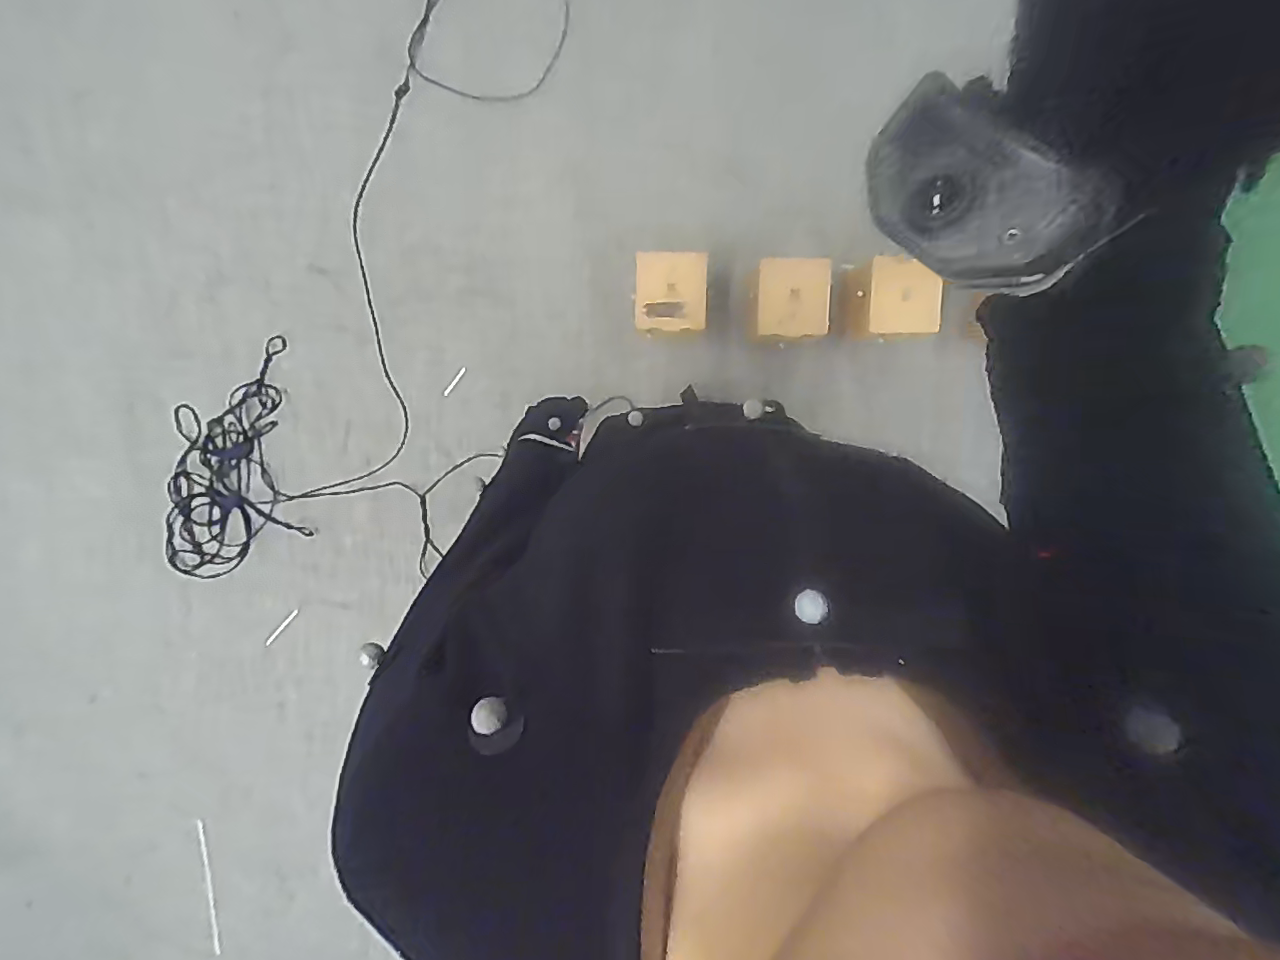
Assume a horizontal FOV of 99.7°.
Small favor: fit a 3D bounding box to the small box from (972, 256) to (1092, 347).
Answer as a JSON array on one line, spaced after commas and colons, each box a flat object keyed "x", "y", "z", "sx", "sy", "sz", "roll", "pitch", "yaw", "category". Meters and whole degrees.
[{"x": 0.942, "y": -0.427, "z": 1.316, "sx": 0.168, "sy": 0.176, "sz": 0.179, "roll": 4, "pitch": 98, "yaw": 1, "category": "small box"}]

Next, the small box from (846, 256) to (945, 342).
[{"x": 0.616, "y": -0.435, "z": 1.324, "sx": 0.168, "sy": 0.176, "sz": 0.179, "roll": -1, "pitch": 97, "yaw": 1, "category": "small box"}]

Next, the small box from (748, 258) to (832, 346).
[{"x": 0.361, "y": -0.431, "z": 1.327, "sx": 0.168, "sy": 0.176, "sz": 0.179, "roll": 1, "pitch": 97, "yaw": 2, "category": "small box"}]
